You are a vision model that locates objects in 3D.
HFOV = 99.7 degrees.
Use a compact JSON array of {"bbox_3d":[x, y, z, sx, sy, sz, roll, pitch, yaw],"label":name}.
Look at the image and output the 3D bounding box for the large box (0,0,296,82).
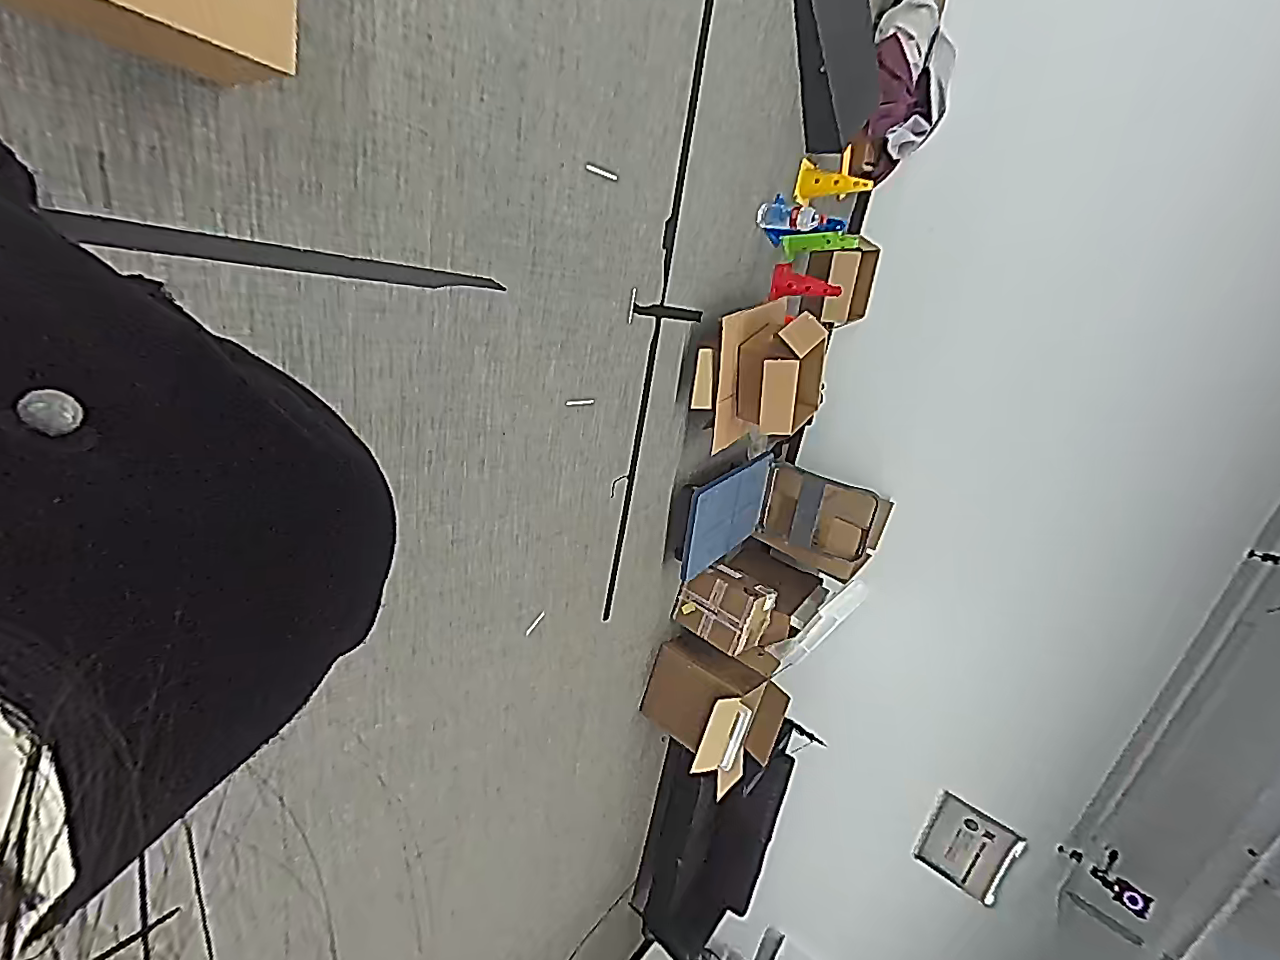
[{"bbox_3d":[-0.779,-0.837,0.773,0.408,0.320,0.320,-13,120,-52],"label":"large box"}]
